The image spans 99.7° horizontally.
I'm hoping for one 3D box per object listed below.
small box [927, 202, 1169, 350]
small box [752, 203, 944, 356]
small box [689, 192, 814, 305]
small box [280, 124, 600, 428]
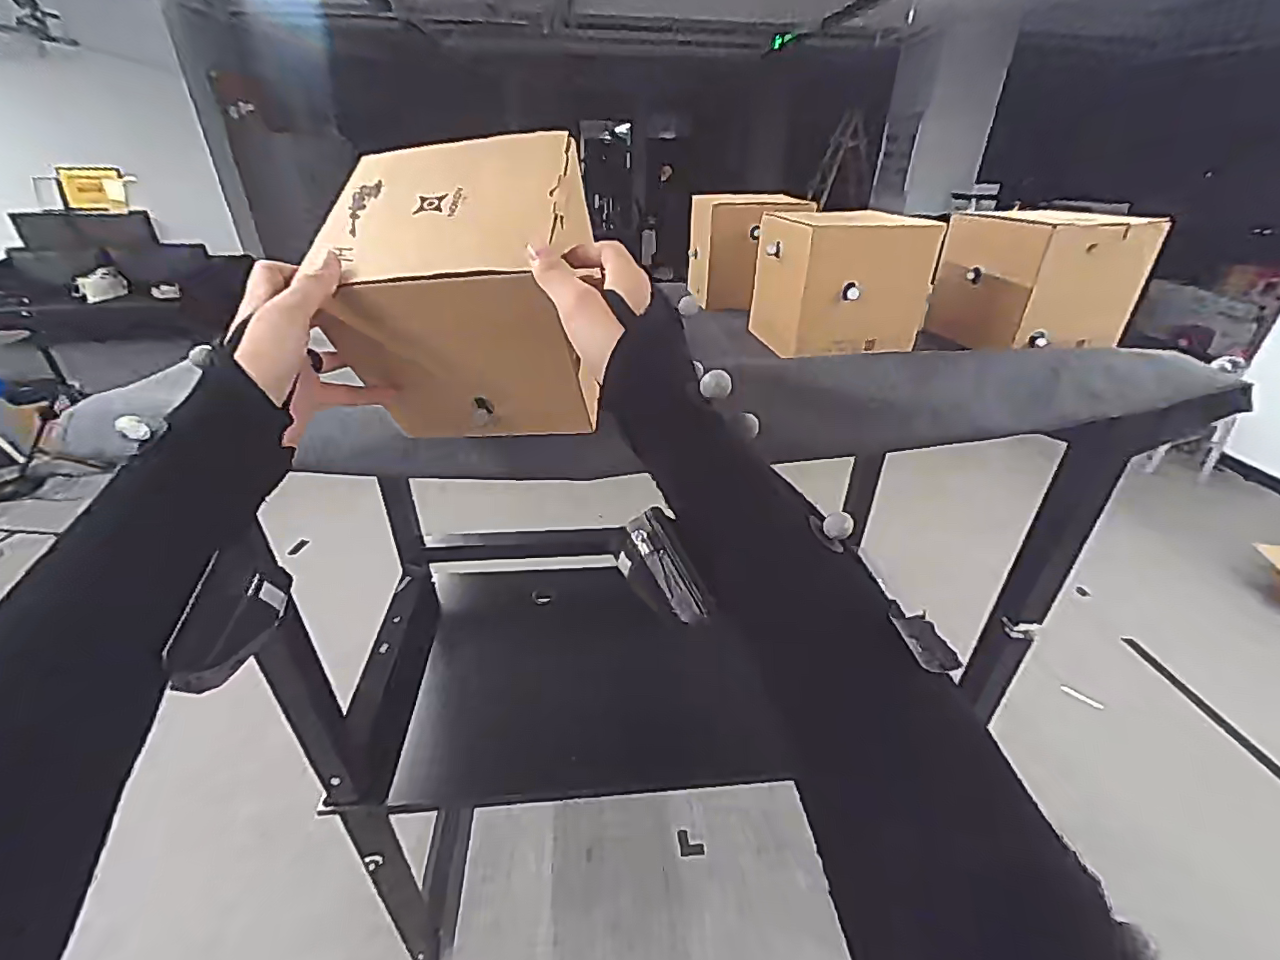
[{"bbox_3d":[0.532,-0.278,0.737,0.168,0.176,0.179,-6,30,-10],"label":"small box"},{"bbox_3d":[0.258,-0.266,0.718,0.168,0.176,0.179,-4,30,-7],"label":"small box"},{"bbox_3d":[0.185,-0.411,0.957,0.179,0.176,0.168,-3,32,-5],"label":"small box"},{"bbox_3d":[-0.133,-0.156,0.443,0.179,0.176,0.168,-1,56,6],"label":"small box"}]
